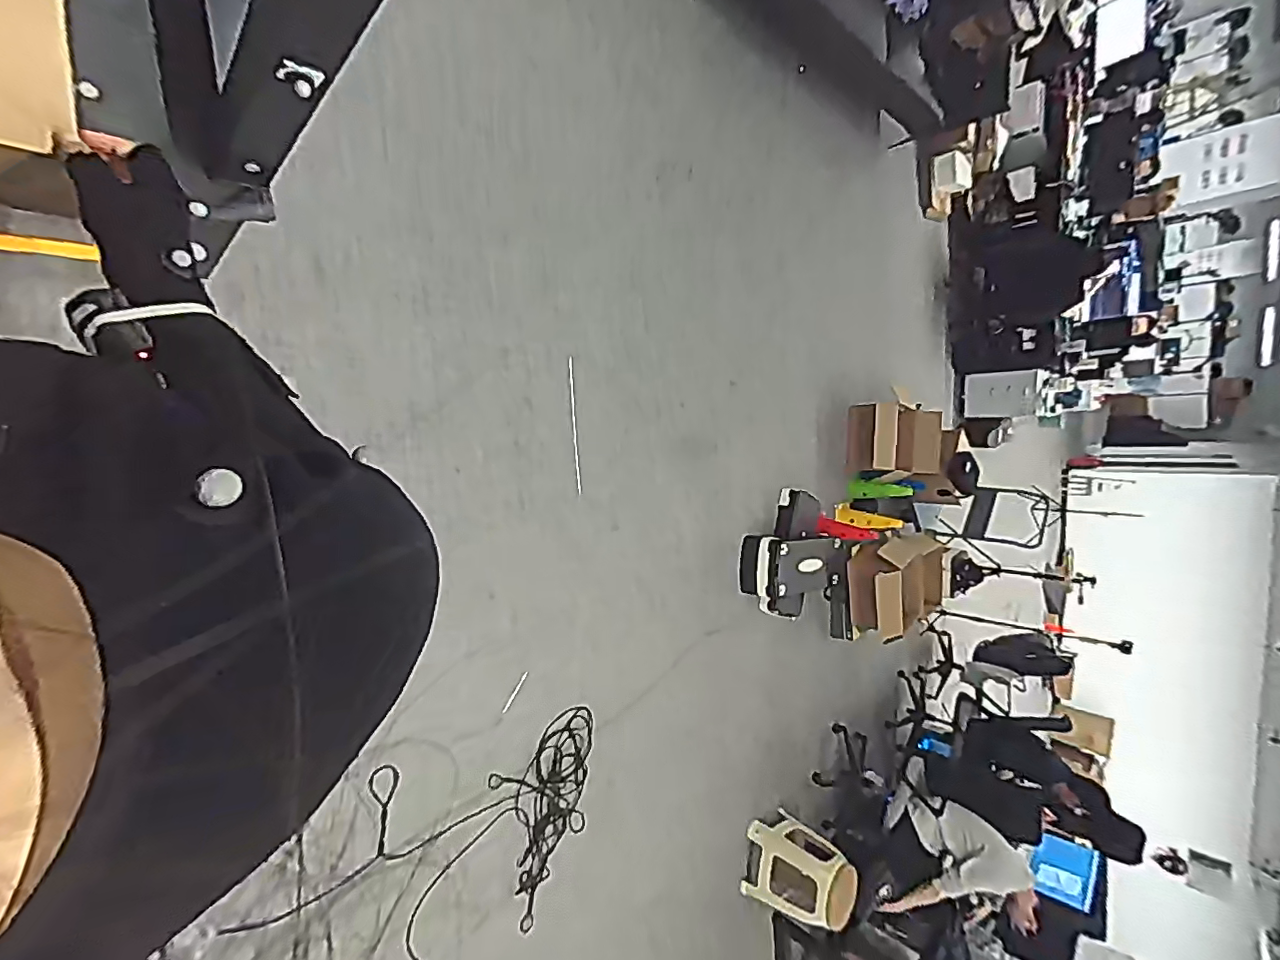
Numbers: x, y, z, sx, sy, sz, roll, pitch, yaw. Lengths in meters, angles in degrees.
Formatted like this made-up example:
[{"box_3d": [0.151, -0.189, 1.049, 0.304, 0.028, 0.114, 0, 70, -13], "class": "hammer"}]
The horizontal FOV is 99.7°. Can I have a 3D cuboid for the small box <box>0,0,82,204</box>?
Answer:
[{"box_3d": [-0.565, -0.345, 0.425, 0.168, 0.176, 0.179, -7, 98, -46], "class": "small box"}]
